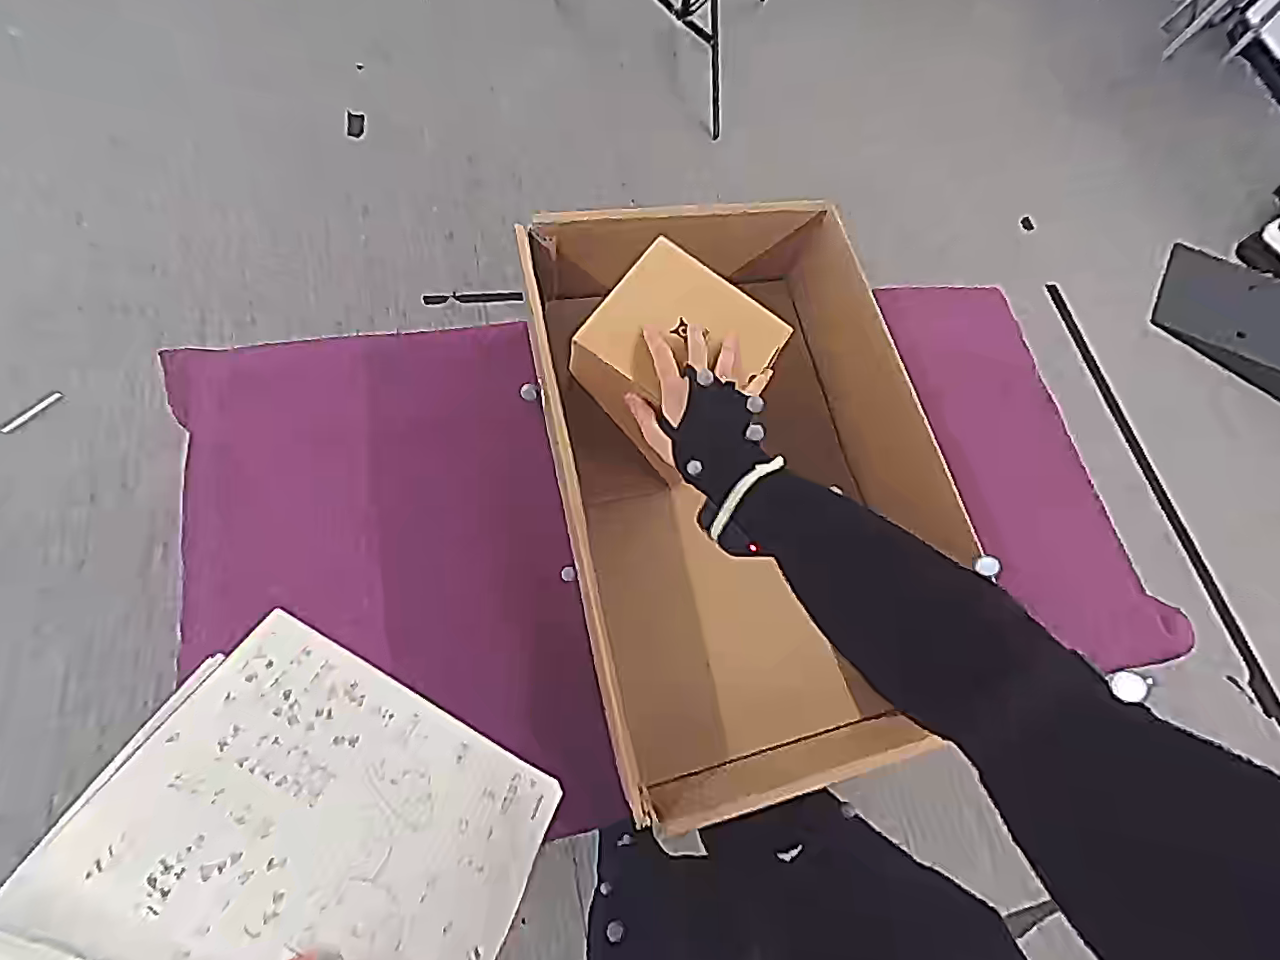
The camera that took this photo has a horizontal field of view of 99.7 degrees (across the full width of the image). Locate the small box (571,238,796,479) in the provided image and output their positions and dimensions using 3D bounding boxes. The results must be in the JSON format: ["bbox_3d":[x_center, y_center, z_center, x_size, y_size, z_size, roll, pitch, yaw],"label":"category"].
[{"bbox_3d":[0.036,-0.125,0.621,0.179,0.176,0.168,37,70,1],"label":"small box"}]
